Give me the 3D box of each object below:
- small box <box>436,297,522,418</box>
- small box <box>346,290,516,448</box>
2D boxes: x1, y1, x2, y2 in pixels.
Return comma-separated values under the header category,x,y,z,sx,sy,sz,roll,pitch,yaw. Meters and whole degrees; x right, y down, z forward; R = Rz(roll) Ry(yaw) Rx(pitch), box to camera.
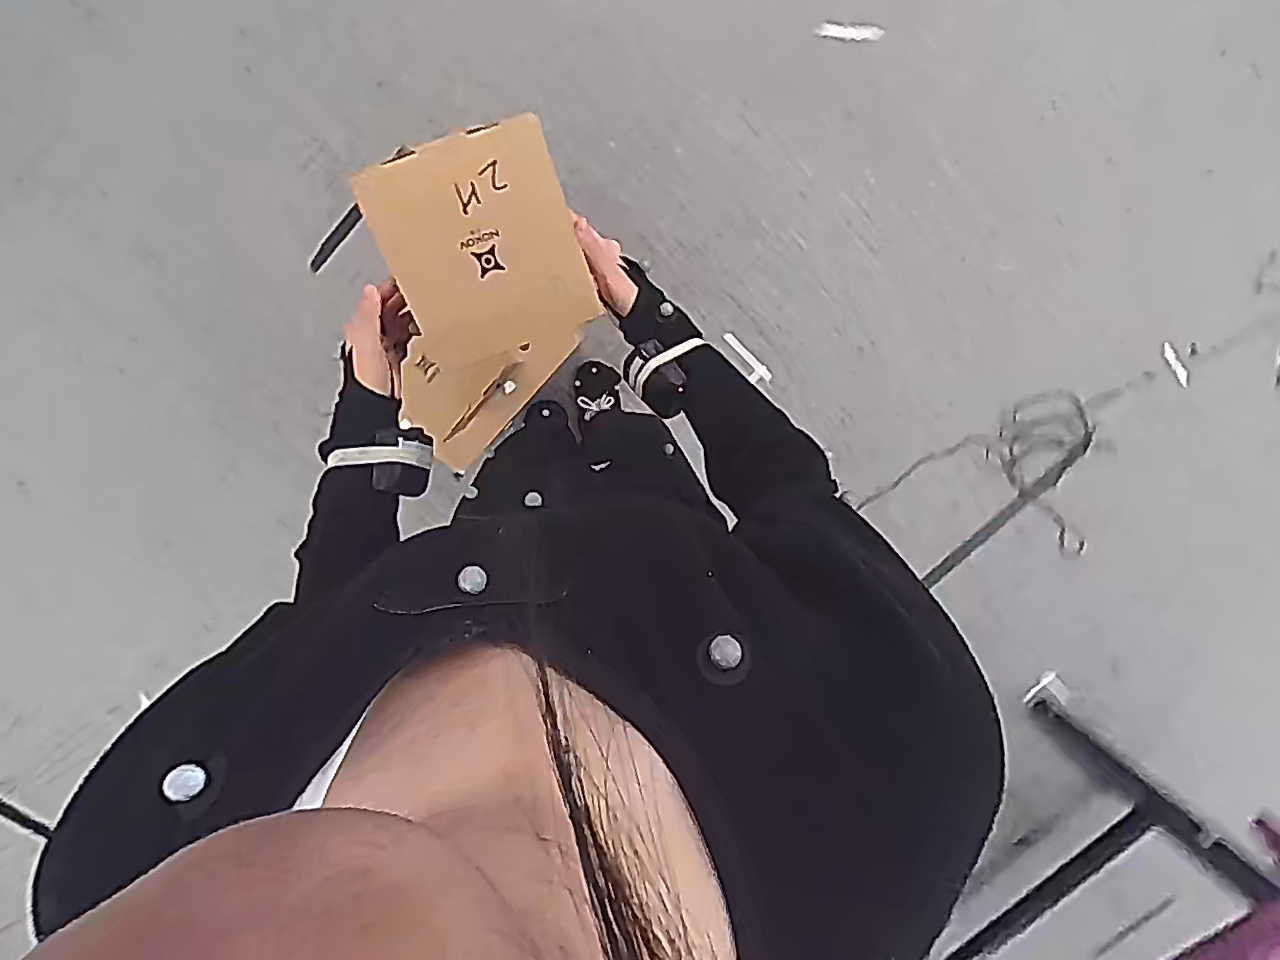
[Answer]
category,x,y,z,sx,sy,sz,roll,pitch,yaw
small box,-0.346,-0.219,1.030,0.179,0.176,0.168,41,97,-15
small box,-0.321,-0.180,0.875,0.179,0.176,0.168,40,96,-13
